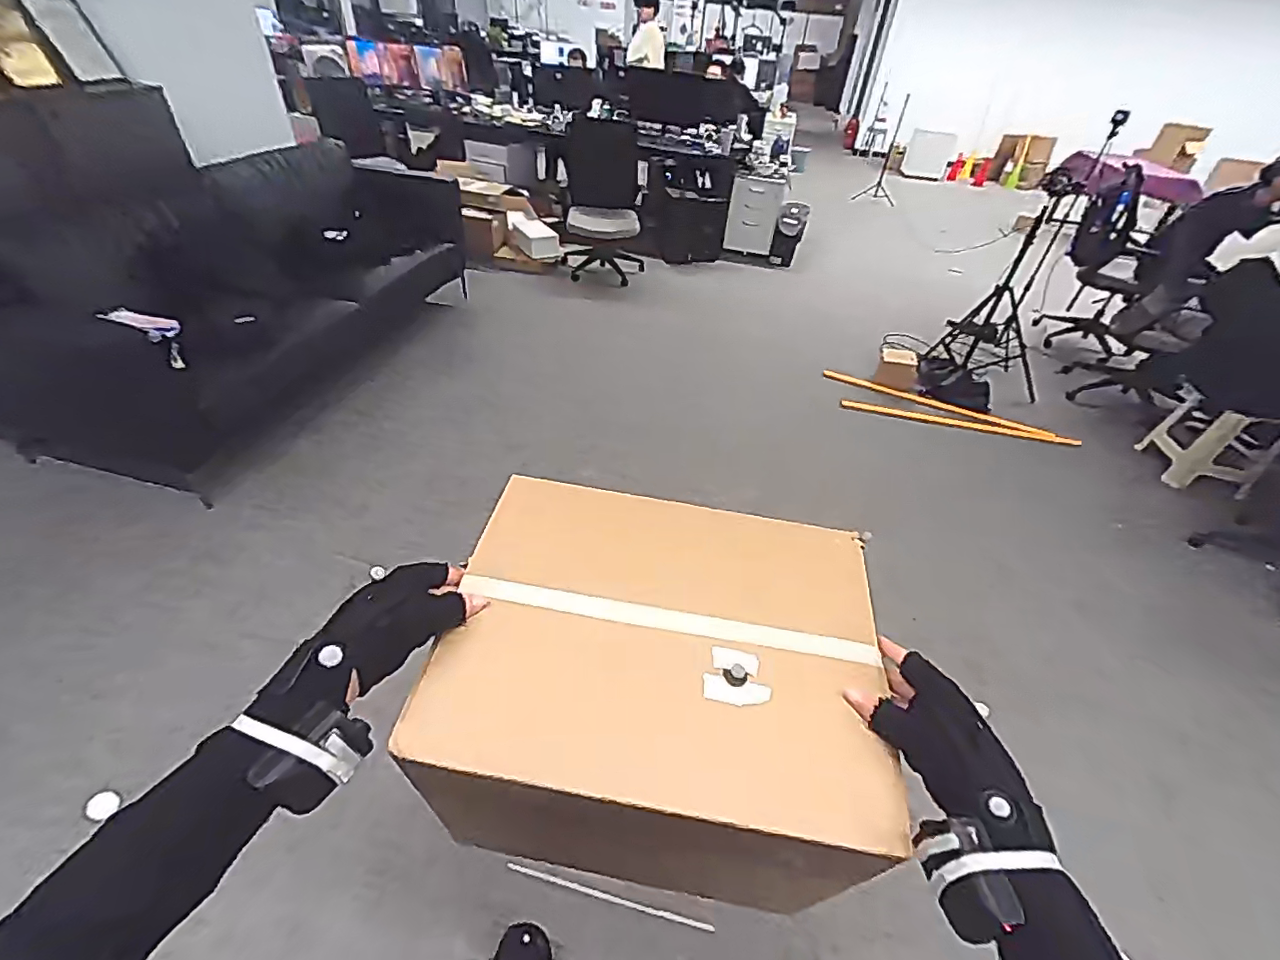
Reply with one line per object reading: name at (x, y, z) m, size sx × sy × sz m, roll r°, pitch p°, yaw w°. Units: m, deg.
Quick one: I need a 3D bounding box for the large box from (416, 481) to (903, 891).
large box at (0.017, 0.240, 0.636) m, size 0.408 × 0.320 × 0.320 m, roll 10°, pitch 46°, yaw 2°
